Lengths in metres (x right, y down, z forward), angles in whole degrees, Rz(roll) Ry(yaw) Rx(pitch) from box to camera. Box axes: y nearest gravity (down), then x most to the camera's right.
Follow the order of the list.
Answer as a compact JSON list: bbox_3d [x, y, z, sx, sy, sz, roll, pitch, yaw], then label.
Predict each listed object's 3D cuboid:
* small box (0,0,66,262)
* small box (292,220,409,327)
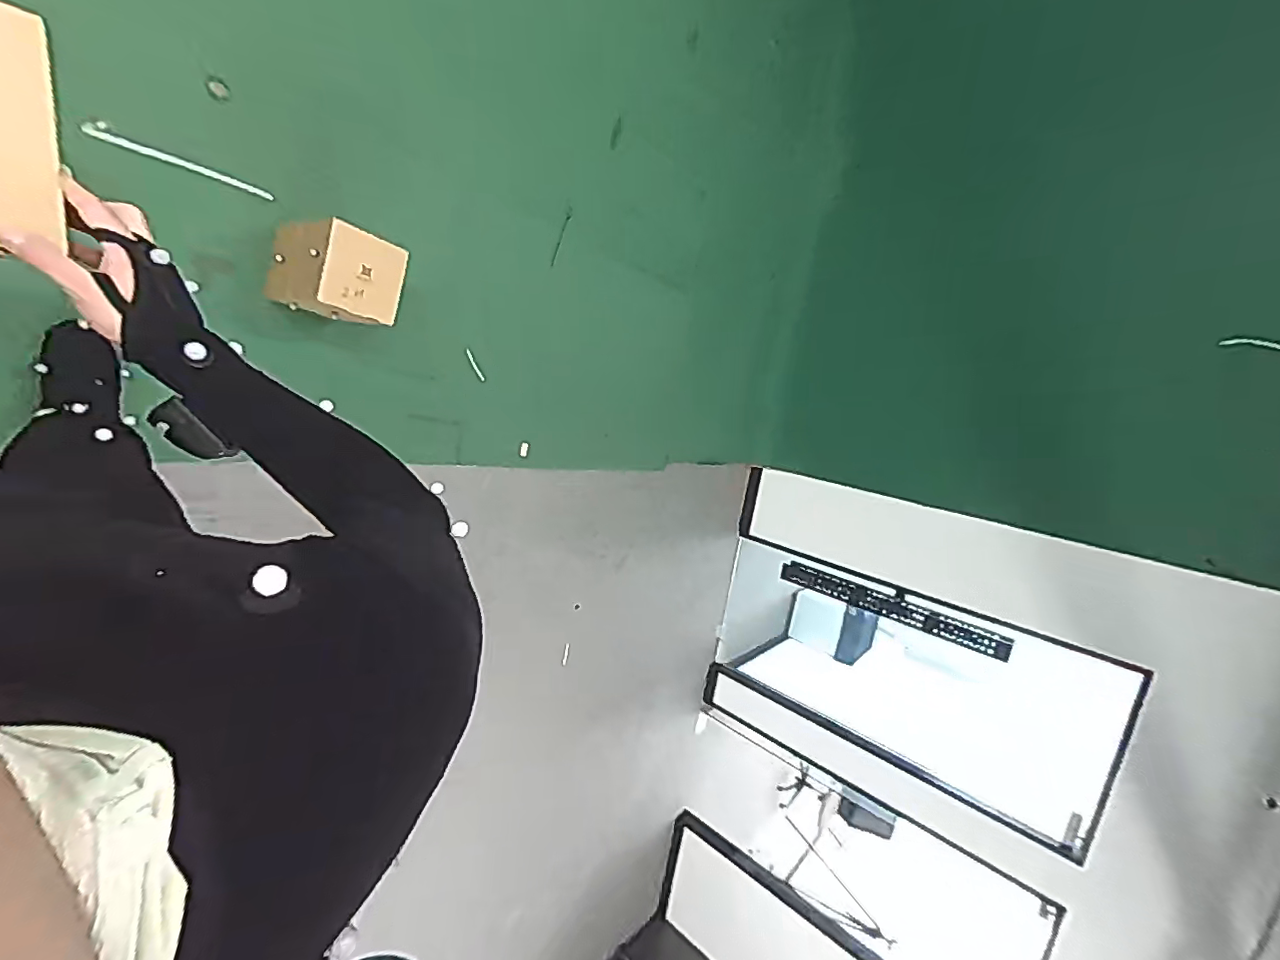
[{"bbox_3d":[-0.563,-0.268,0.402,0.168,0.176,0.179,-10,110,-52],"label":"small box"},{"bbox_3d":[-0.658,-0.461,1.223,0.168,0.176,0.179,10,96,-52],"label":"small box"}]
